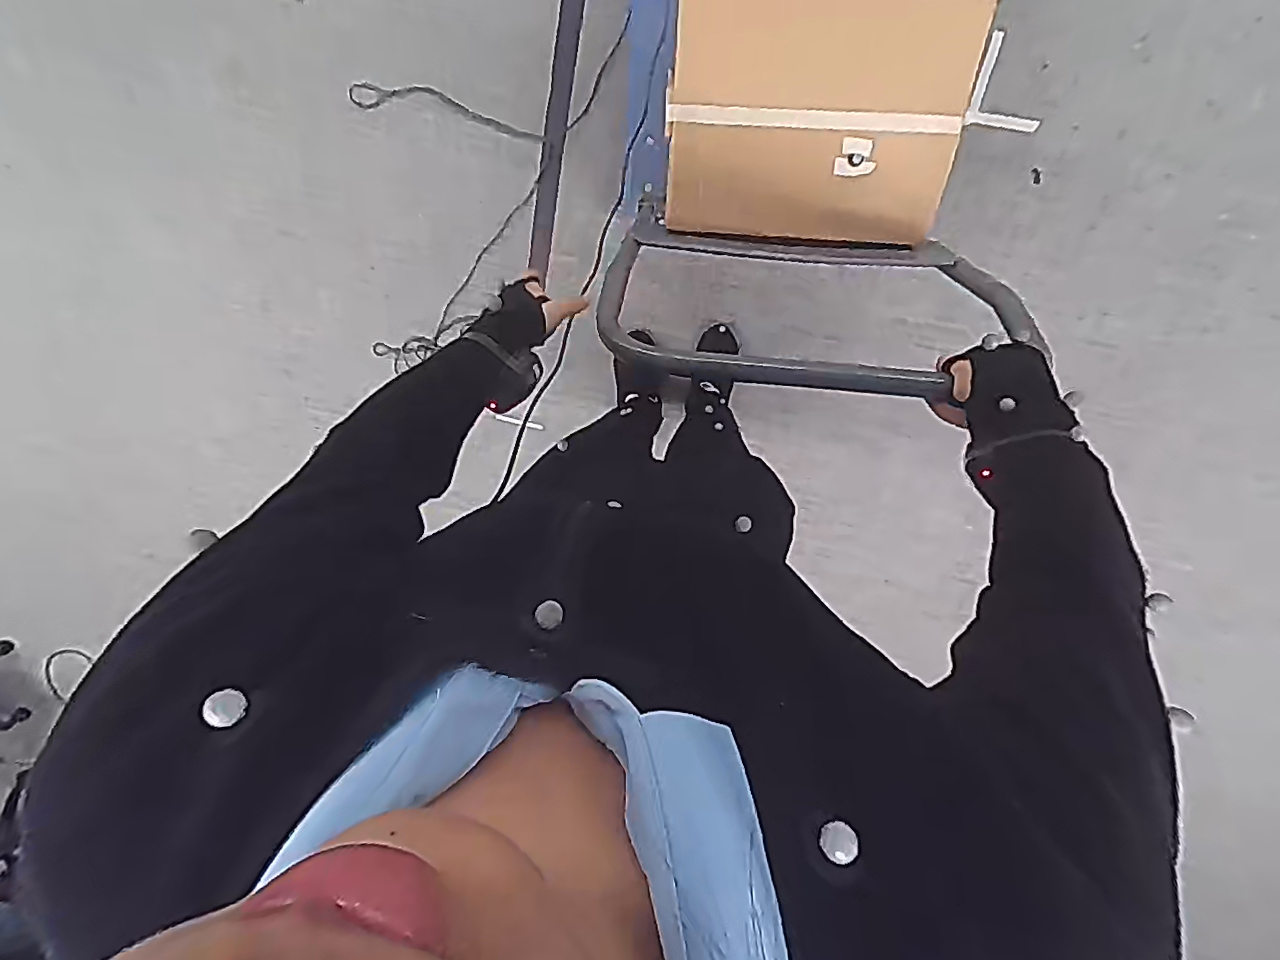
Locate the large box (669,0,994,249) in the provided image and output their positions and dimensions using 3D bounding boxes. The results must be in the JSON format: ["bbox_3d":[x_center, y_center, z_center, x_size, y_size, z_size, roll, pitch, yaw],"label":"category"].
[{"bbox_3d":[0.256,-0.576,0.892,0.408,0.320,0.320,5,122,3],"label":"large box"}]
